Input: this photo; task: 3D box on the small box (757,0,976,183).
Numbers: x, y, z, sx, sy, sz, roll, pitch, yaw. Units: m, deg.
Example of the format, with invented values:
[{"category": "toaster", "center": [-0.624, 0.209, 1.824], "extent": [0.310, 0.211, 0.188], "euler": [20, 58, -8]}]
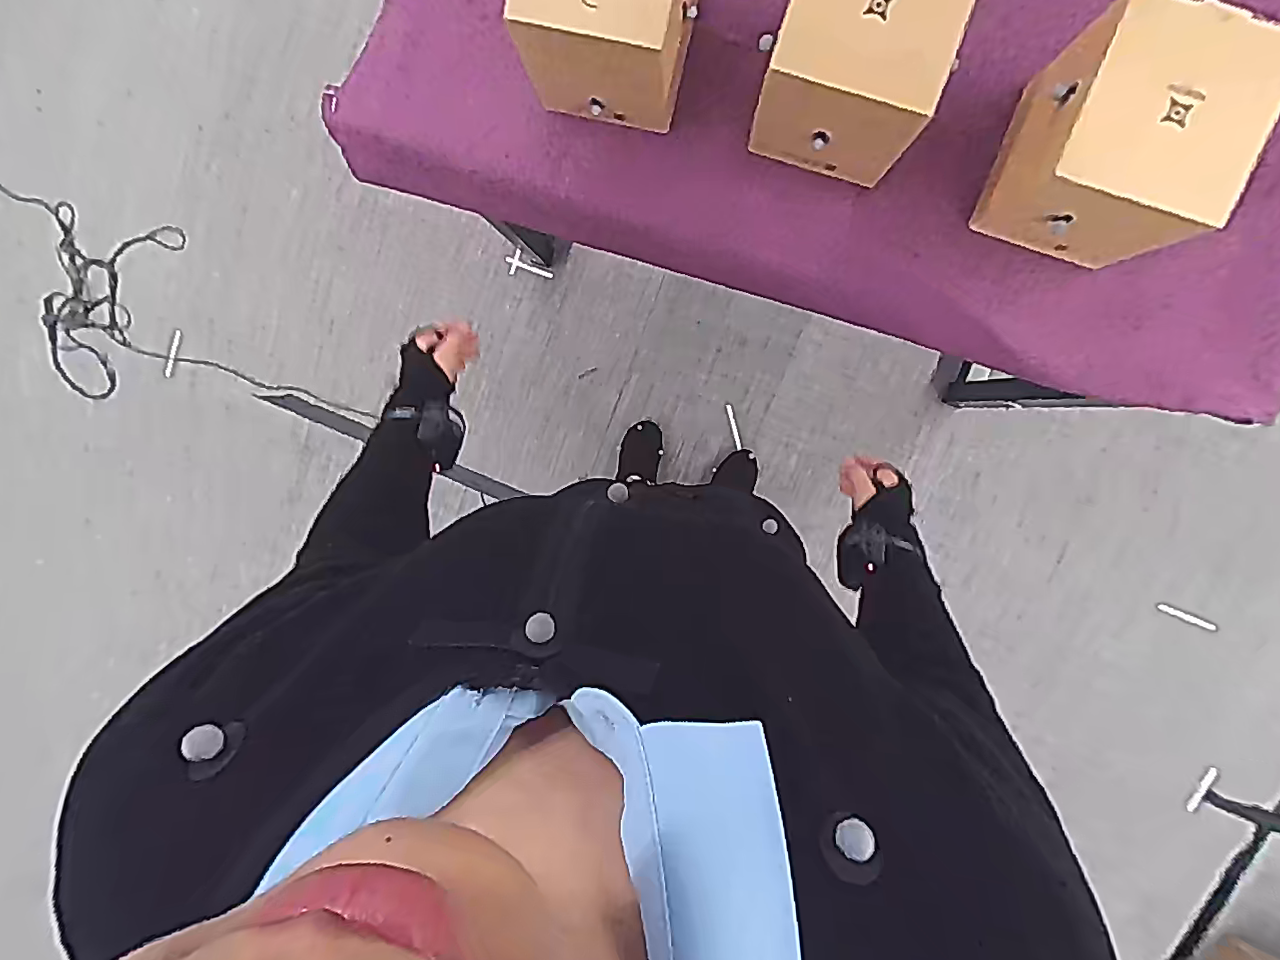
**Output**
[{"category": "small box", "center": [0.237, -0.463, 0.592], "extent": [0.168, 0.176, 0.179], "euler": [19, 97, 1]}]

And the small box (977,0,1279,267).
[{"category": "small box", "center": [0.507, -0.355, 0.585], "extent": [0.168, 0.176, 0.179], "euler": [20, 98, 2]}]
